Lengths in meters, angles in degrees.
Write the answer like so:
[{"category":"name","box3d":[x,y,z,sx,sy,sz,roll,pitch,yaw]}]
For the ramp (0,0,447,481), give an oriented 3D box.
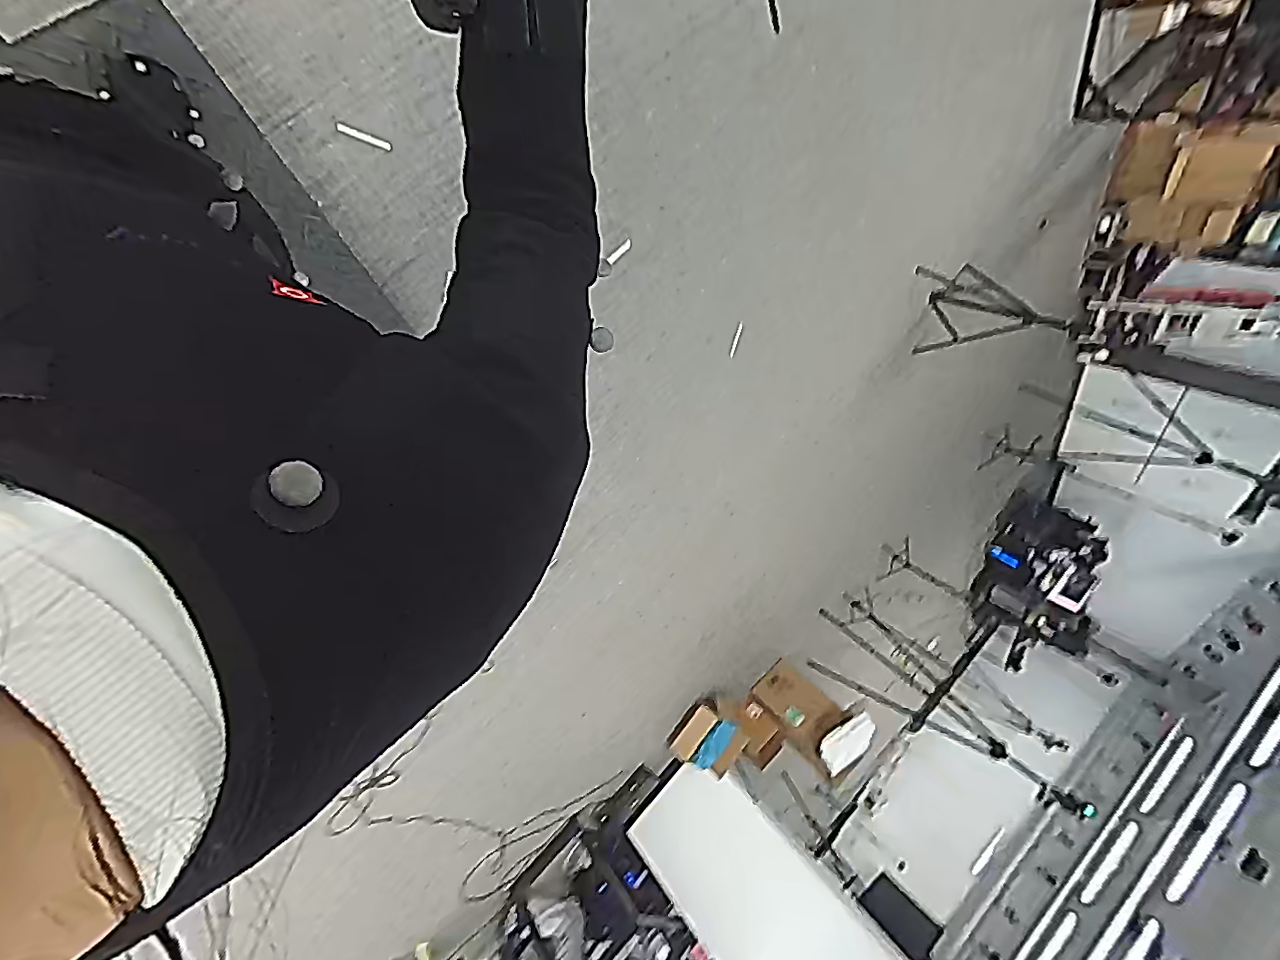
[{"category":"ramp","box3d":[-0.877,-0.411,1.226,0.509,0.206,0.991,-45,139,-12]}]
